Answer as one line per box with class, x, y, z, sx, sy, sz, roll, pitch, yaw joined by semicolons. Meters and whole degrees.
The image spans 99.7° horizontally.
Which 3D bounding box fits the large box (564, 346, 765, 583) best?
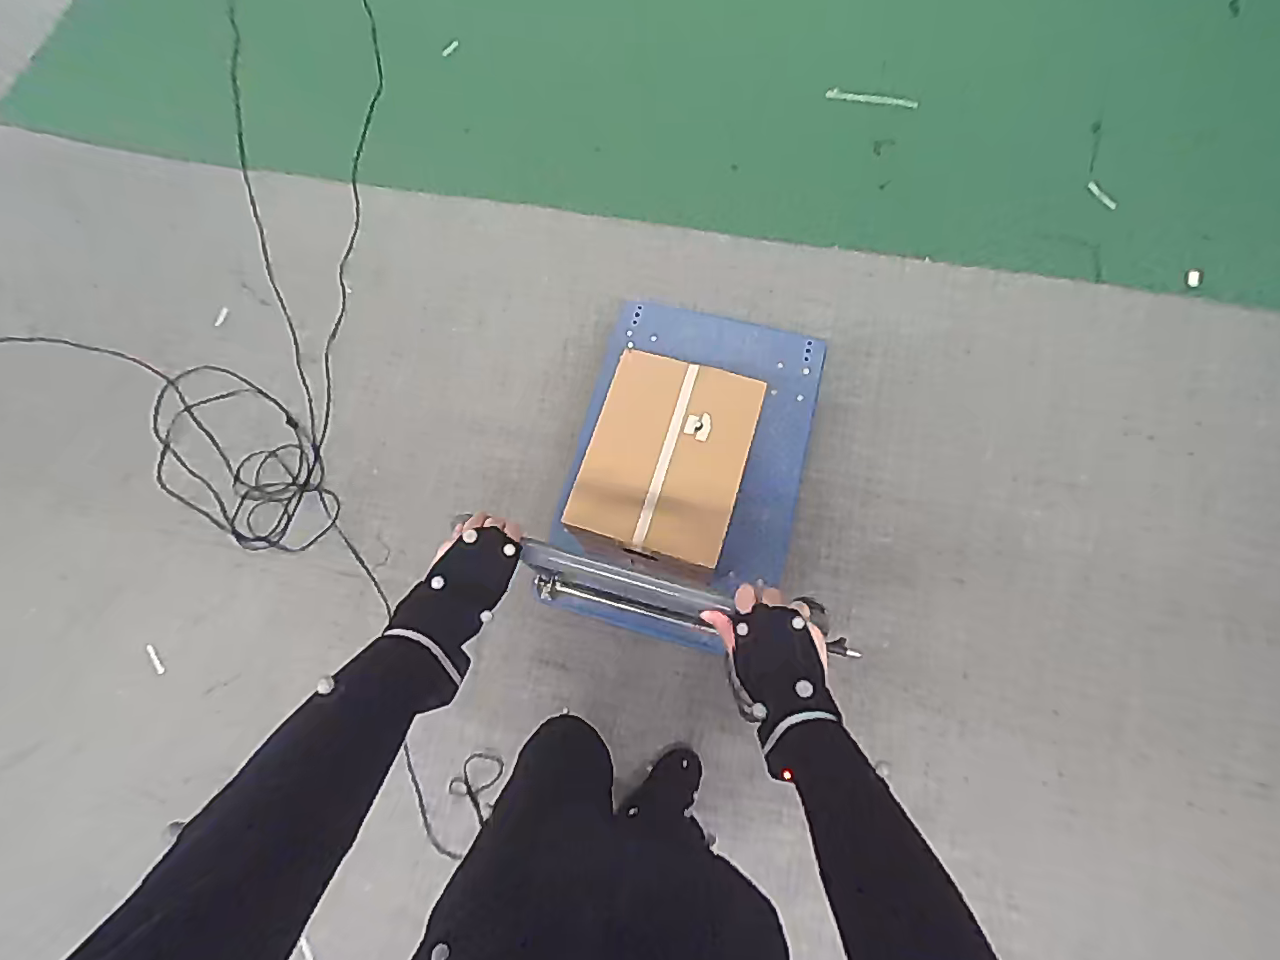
large box;0.063;-0.018;1.215;0.320;0.320;0.408;17;74;8
